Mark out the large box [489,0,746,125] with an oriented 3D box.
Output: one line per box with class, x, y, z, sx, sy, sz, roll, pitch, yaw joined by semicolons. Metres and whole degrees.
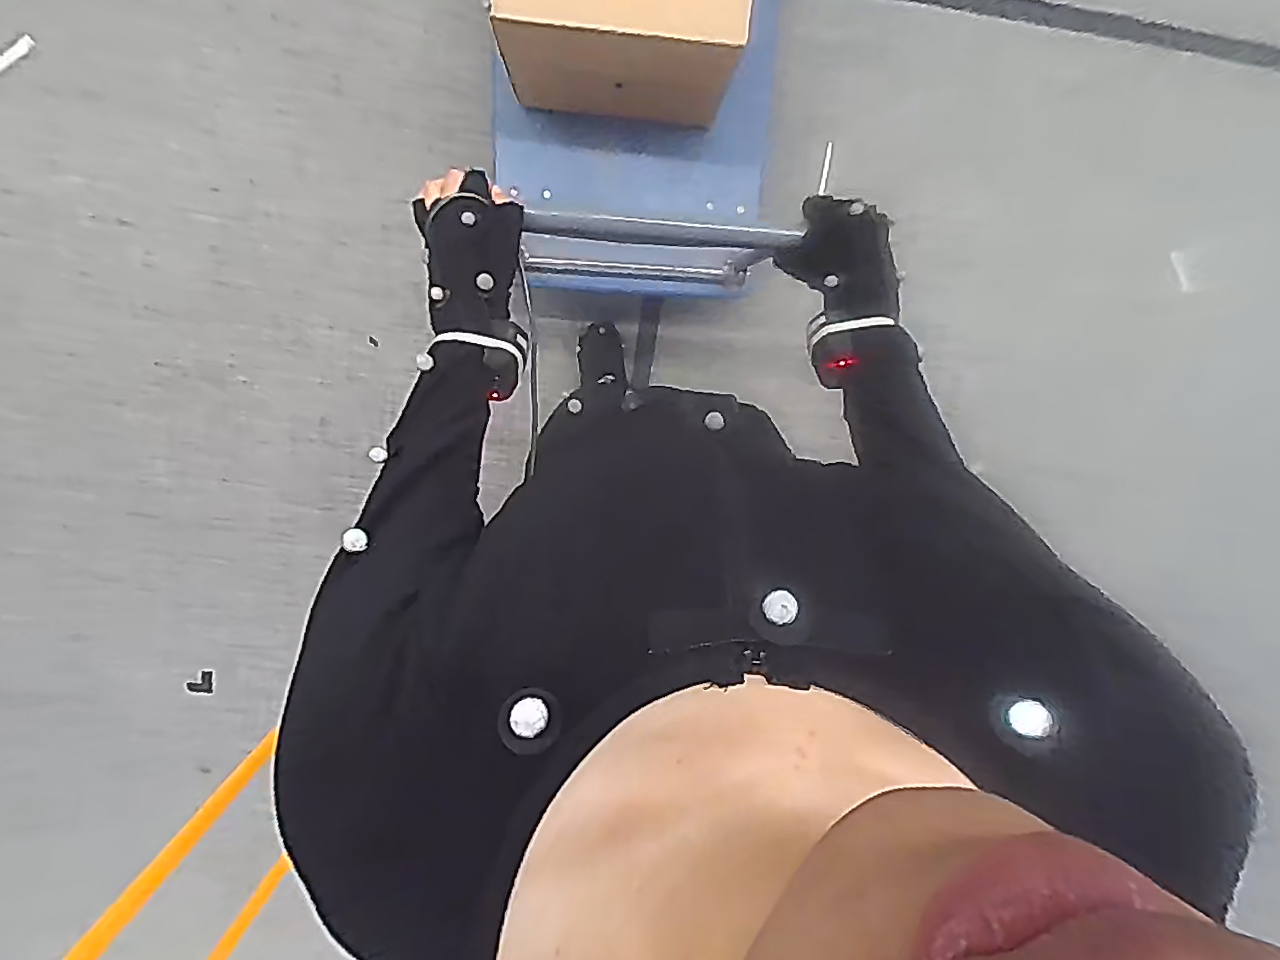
large box;-0.033;-0.874;0.962;0.408;0.320;0.320;3;102;-4
